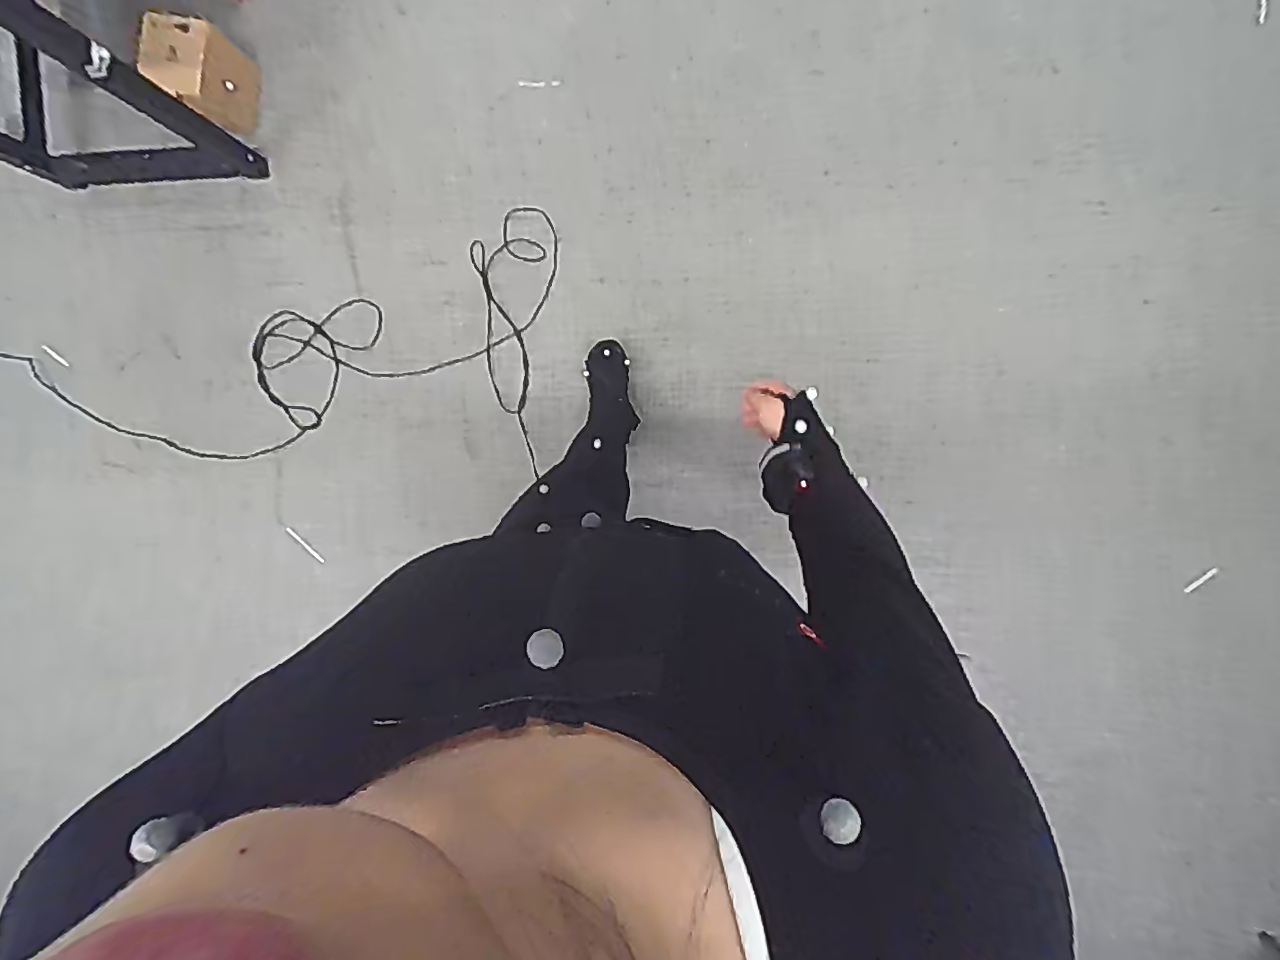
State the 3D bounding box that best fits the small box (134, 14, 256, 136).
[{"bbox_3d":[-1.106,-1.002,1.354,0.168,0.176,0.179,12,96,2],"label":"small box"}]
